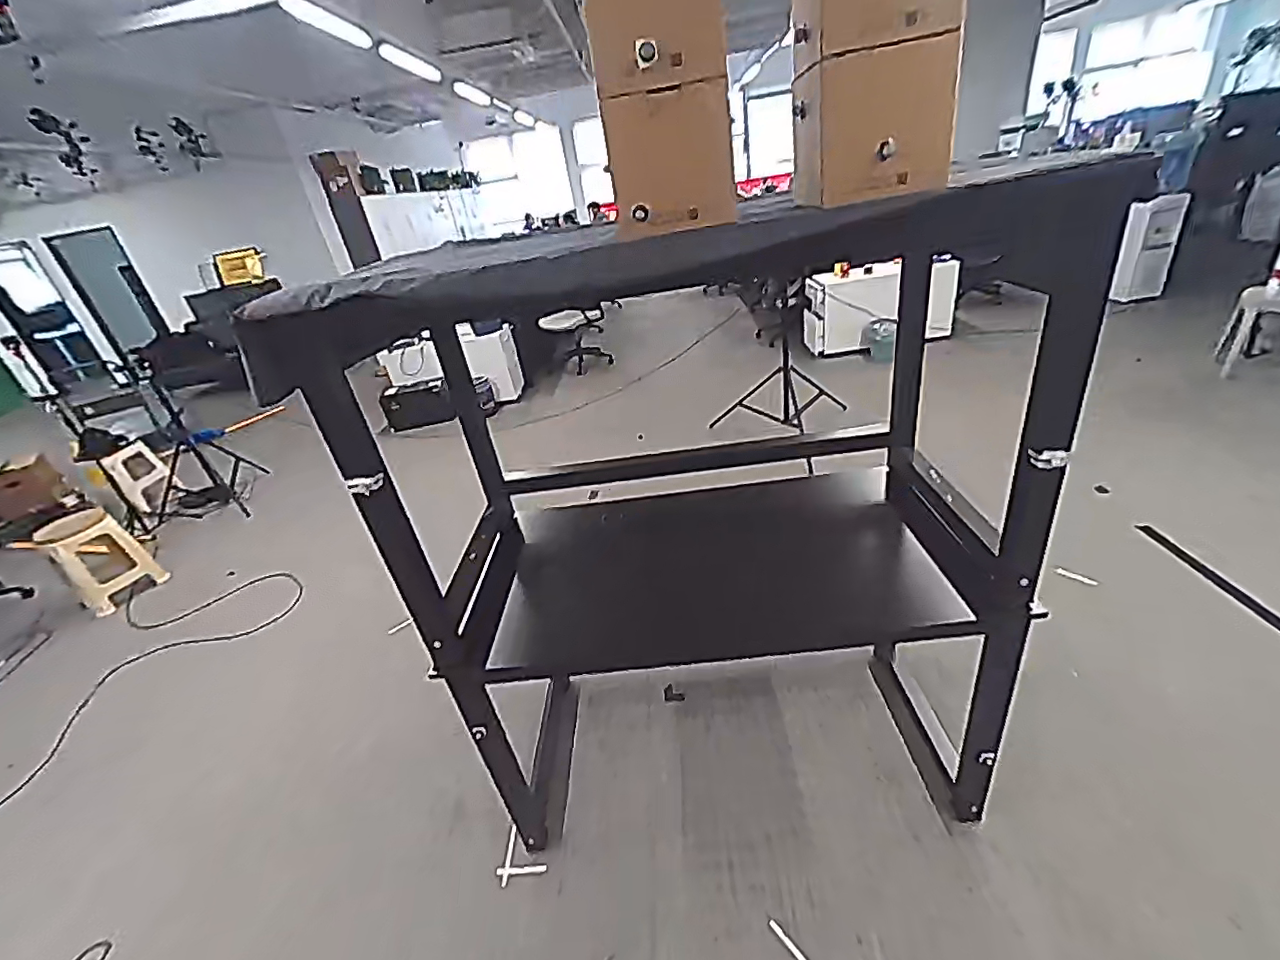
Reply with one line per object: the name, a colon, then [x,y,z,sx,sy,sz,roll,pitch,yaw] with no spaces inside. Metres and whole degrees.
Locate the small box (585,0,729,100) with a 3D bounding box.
small box: [0.021,-0.596,0.708,0.168,0.176,0.179,-8,28,6]

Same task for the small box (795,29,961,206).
small box: [0.316,-0.488,0.756,0.168,0.176,0.179,-8,28,7]

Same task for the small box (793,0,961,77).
small box: [0.291,-0.631,0.680,0.168,0.176,0.179,-7,29,7]

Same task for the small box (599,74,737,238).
small box: [0.044,-0.452,0.781,0.168,0.176,0.179,-7,26,5]
